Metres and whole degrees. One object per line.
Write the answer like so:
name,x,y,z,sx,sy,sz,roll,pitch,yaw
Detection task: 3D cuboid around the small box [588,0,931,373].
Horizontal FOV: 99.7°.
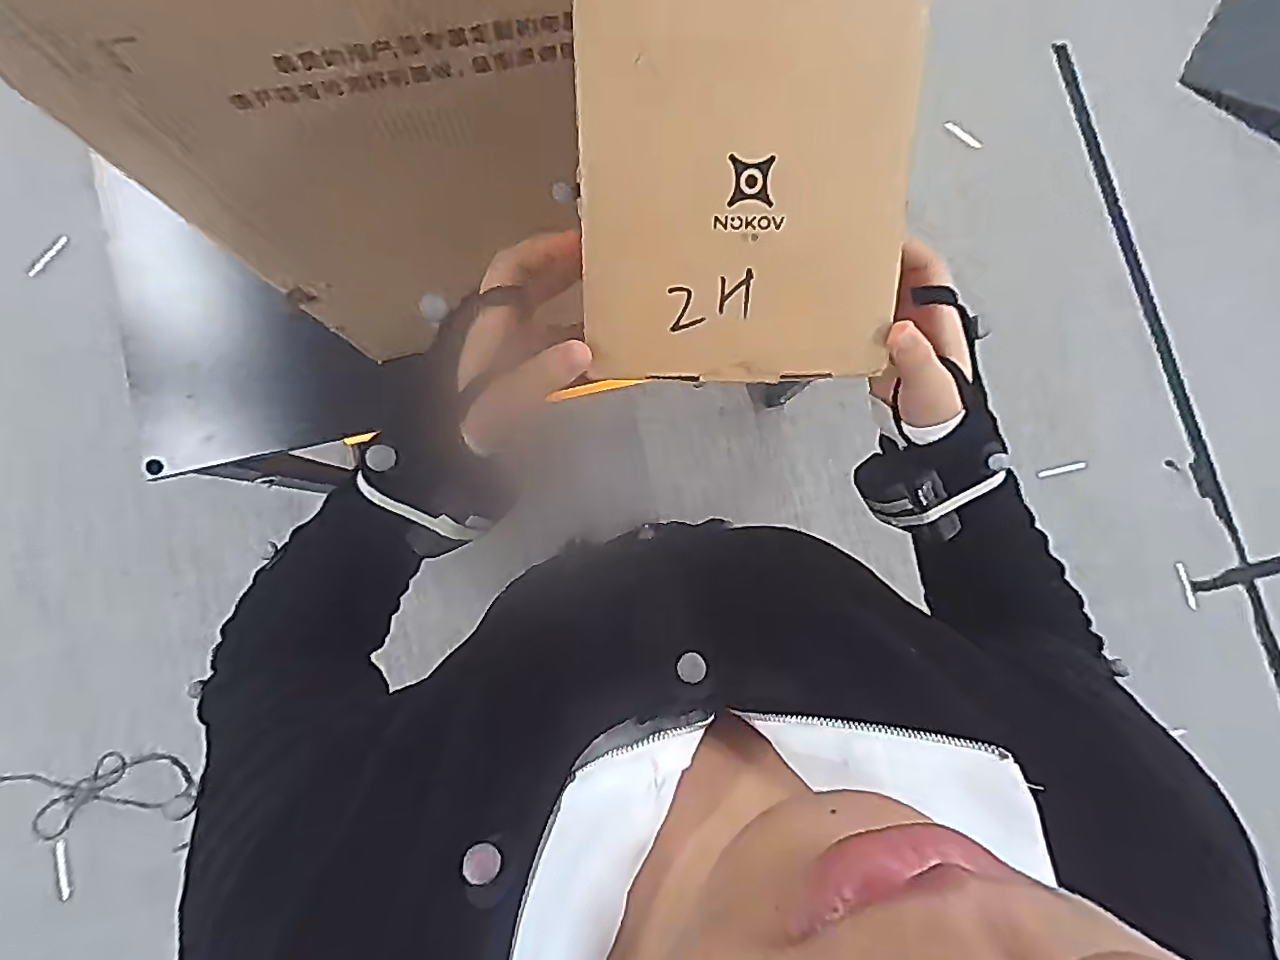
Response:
small box,0.050,-0.162,0.347,0.168,0.176,0.179,-1,106,-4
